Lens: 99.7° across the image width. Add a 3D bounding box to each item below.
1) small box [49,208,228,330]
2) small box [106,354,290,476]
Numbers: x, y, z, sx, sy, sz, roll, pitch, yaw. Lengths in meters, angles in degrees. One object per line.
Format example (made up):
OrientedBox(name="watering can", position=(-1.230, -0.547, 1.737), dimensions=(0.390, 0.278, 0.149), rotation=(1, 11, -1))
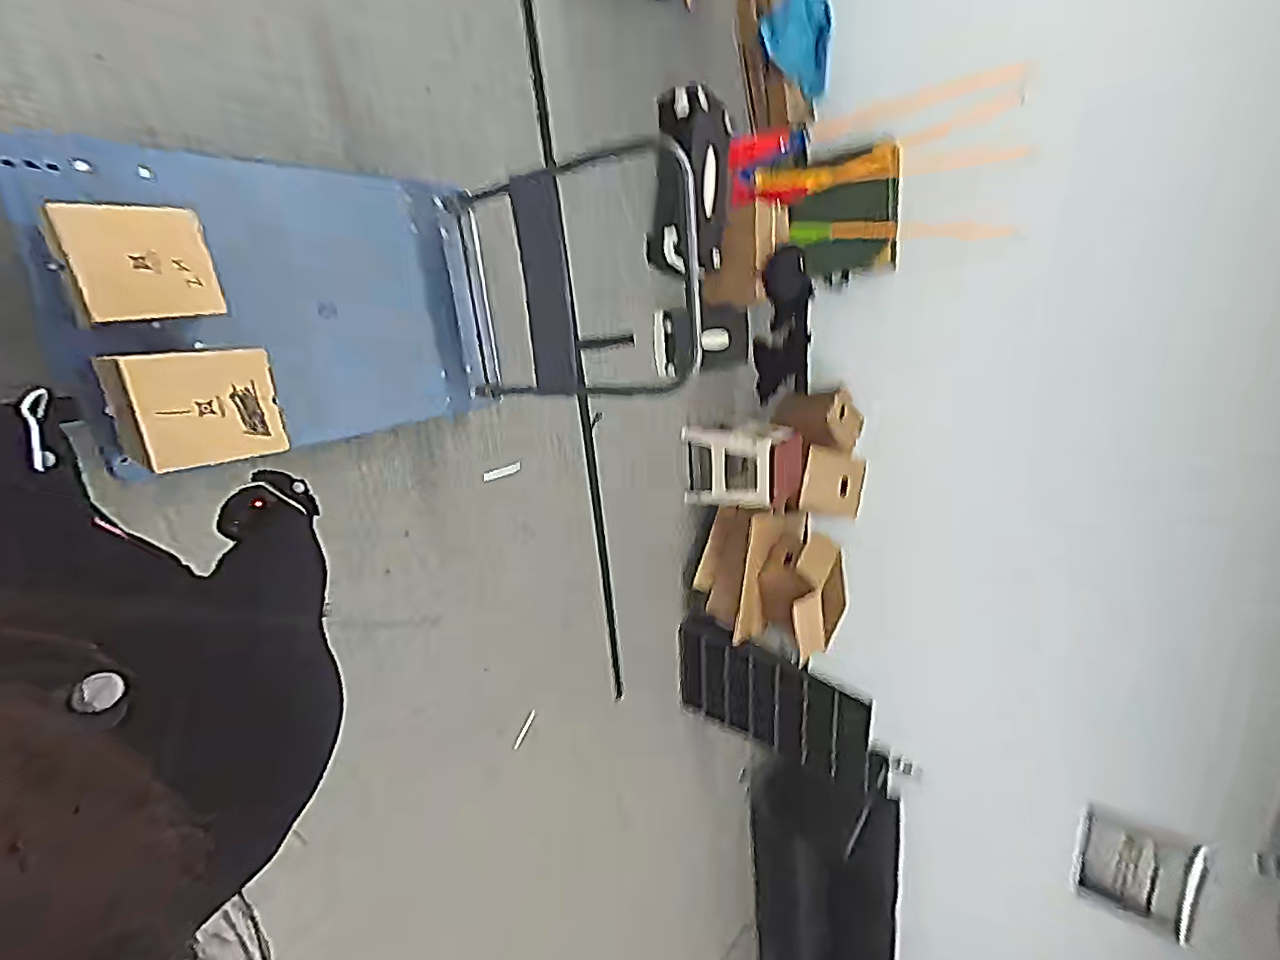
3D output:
OrientedBox(name="small box", position=(-0.840, -0.346, 0.906), dimensions=(0.179, 0.176, 0.168), rotation=(-26, 117, -46))
OrientedBox(name="small box", position=(-0.700, -0.113, 0.862), dimensions=(0.179, 0.176, 0.168), rotation=(-21, 113, -47))
